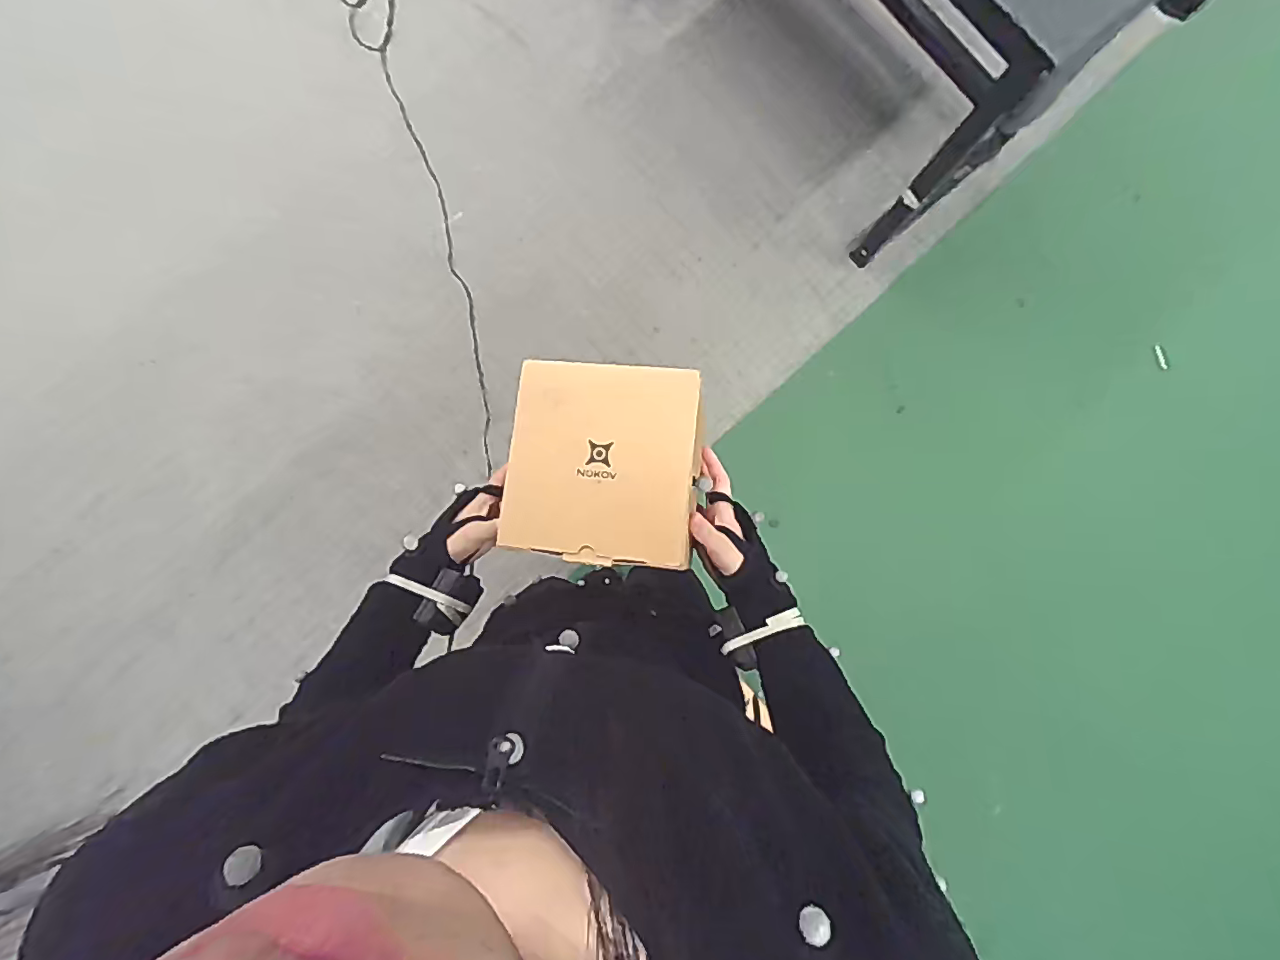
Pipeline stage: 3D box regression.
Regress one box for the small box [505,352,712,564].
[{"bbox_3d":[-0.020,-0.011,0.543,0.168,0.176,0.179,5,83,6],"label":"small box"}]
